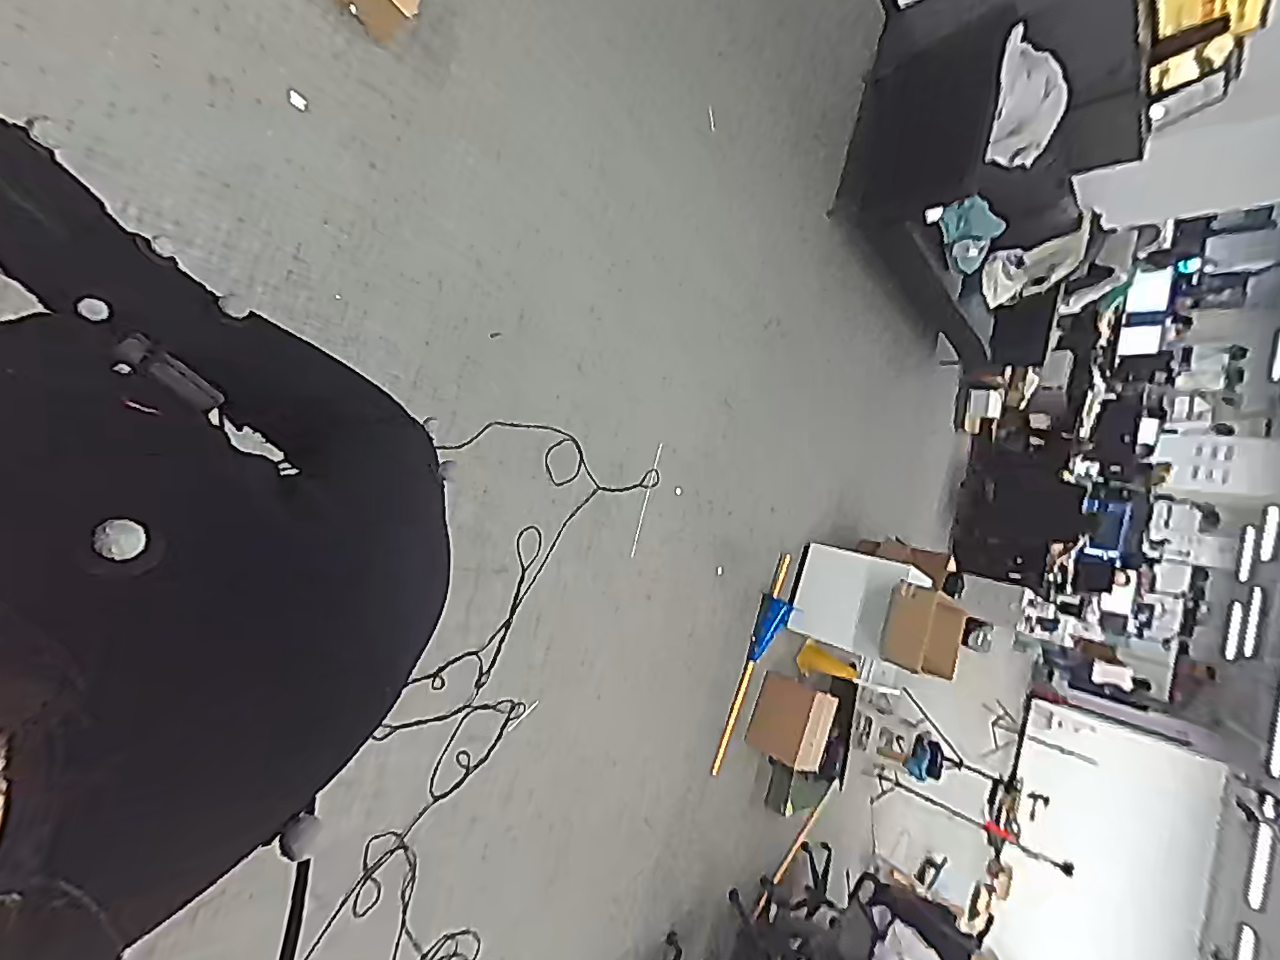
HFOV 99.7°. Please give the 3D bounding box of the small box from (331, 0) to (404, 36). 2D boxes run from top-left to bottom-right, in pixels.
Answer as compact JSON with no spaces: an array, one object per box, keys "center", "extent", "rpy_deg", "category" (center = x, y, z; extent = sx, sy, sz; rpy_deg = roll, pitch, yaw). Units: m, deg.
[{"center":[-0.619,-1.174,1.223],"extent":[0.168,0.176,0.179],"rpy_deg":[29,78,-45],"category":"small box"}]
